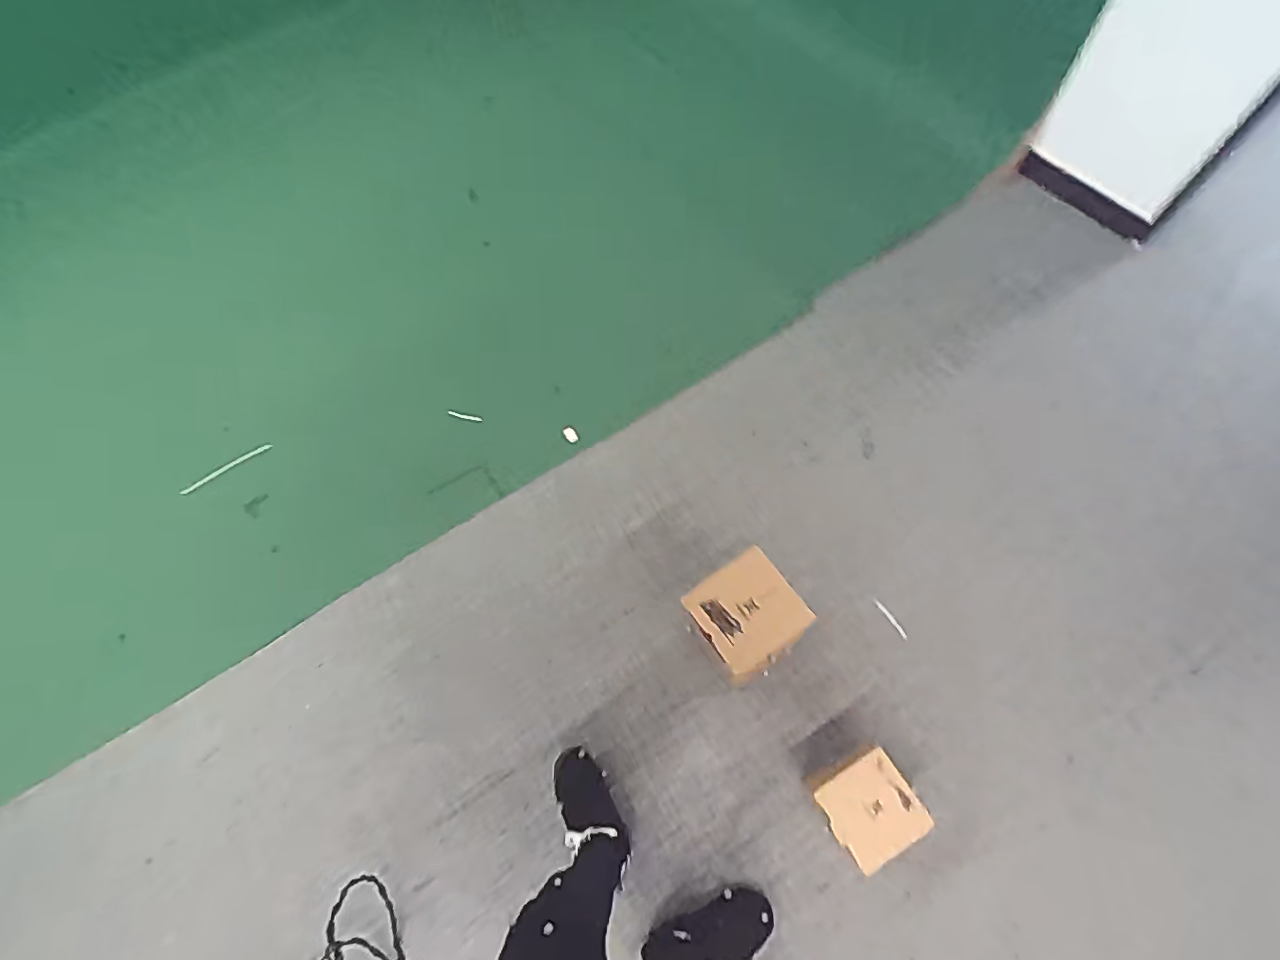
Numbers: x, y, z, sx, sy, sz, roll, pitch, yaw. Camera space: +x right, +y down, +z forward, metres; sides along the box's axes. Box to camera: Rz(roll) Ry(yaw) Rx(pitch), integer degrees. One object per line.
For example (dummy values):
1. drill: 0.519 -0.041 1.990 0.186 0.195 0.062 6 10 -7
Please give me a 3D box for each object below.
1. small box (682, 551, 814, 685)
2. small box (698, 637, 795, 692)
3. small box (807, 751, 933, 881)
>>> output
1. small box: 0.200 0.269 1.030 0.179 0.176 0.168 -33 66 -9
2. small box: 0.250 0.400 1.327 0.168 0.176 0.179 -32 66 -7
3. small box: 0.476 0.706 1.156 0.179 0.176 0.168 -31 66 -6
